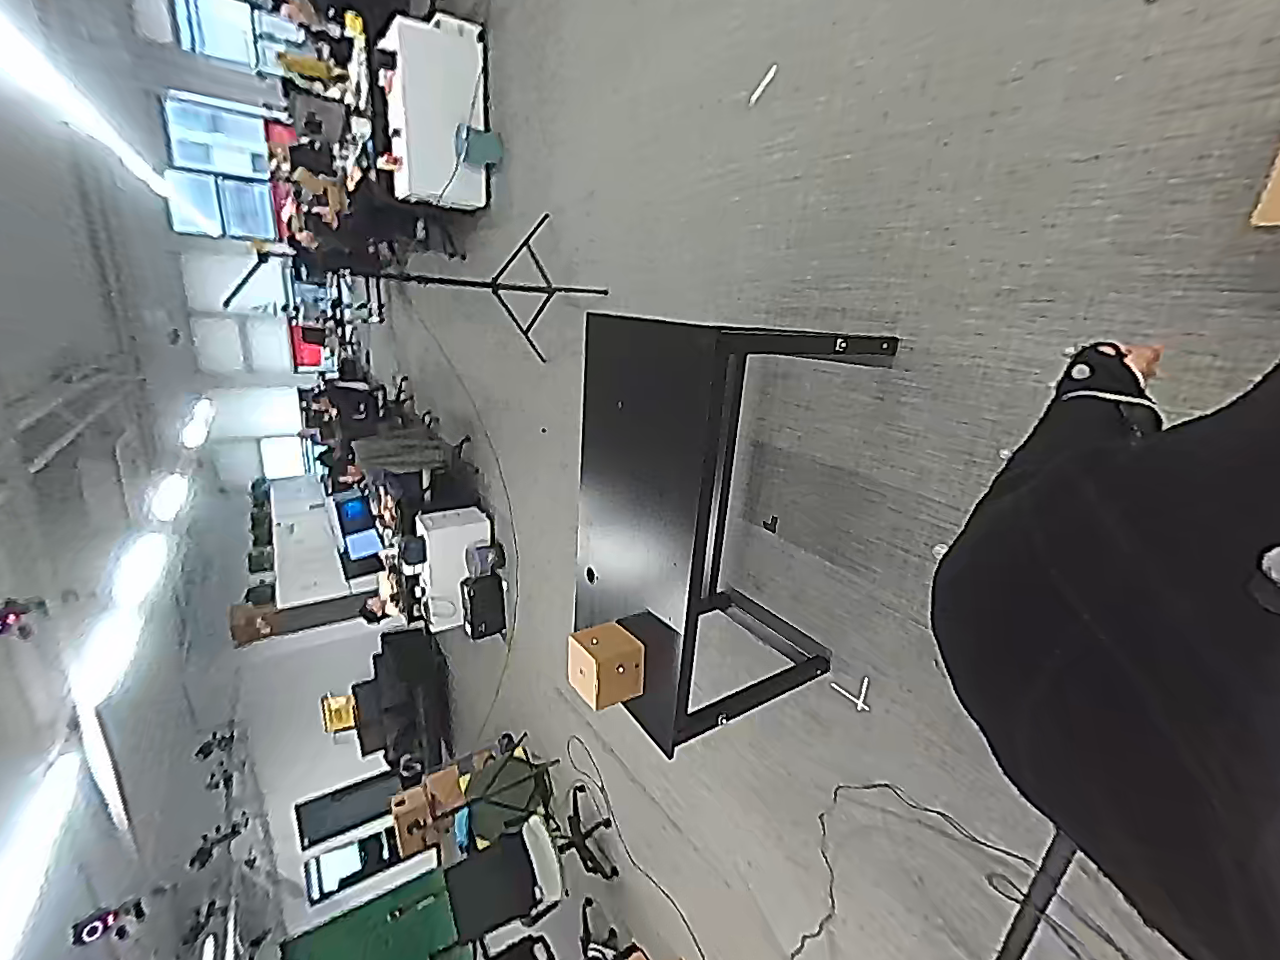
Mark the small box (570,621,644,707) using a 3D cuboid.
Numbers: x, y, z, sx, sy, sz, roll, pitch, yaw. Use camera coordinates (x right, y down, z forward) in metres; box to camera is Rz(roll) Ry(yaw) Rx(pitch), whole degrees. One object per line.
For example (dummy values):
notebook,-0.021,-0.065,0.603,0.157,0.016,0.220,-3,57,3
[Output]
small box,-0.100,0.546,1.638,0.179,0.176,0.168,22,114,55
